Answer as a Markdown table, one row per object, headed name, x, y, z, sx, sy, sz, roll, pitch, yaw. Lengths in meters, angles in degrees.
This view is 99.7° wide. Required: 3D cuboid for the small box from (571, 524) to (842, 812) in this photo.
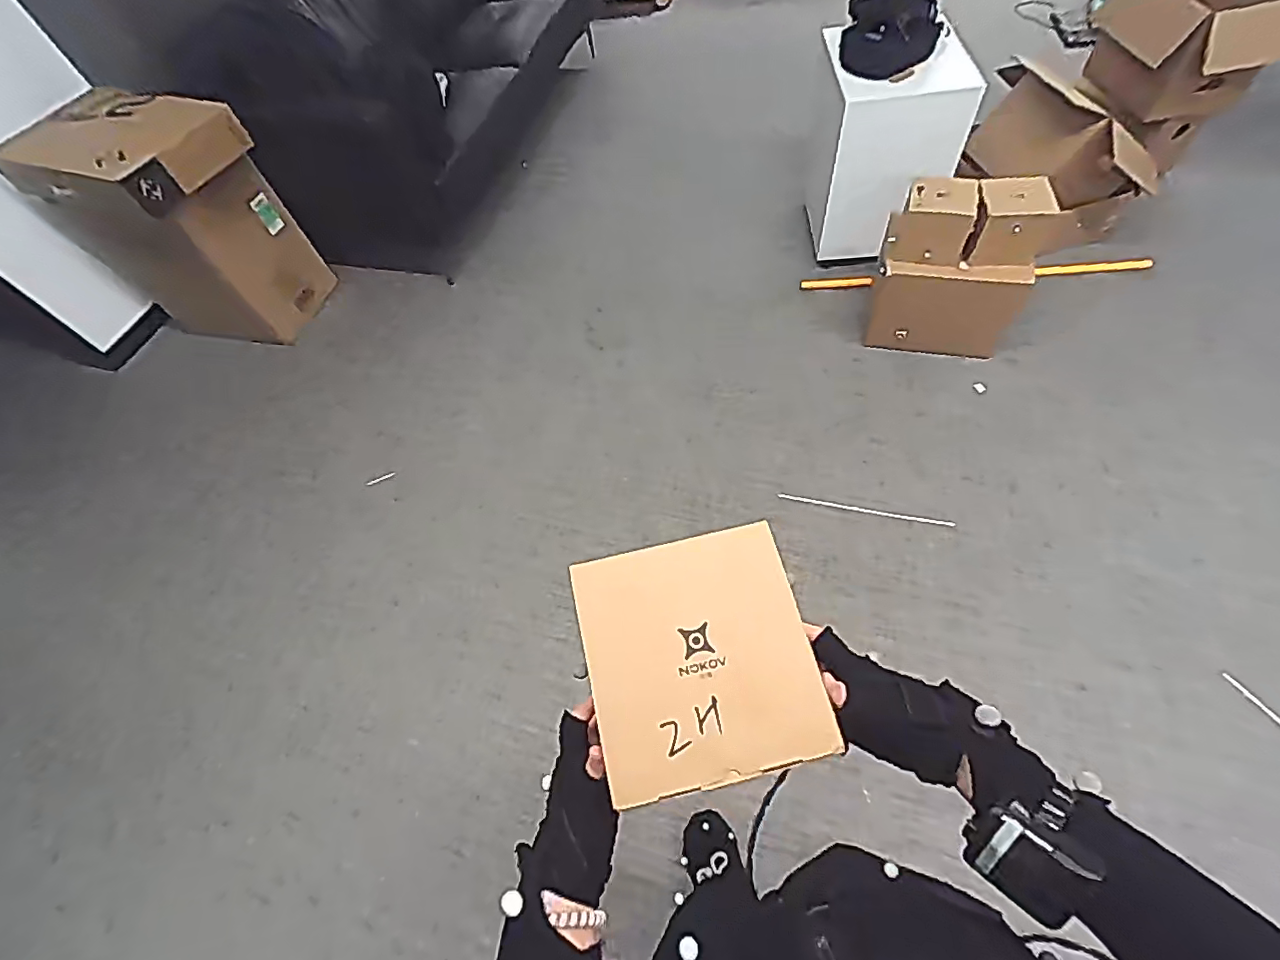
| name | x | y | z | sx | sy | sz | roll | pitch | yaw |
| --- | --- | --- | --- | --- | --- | --- | --- | --- | --- |
| small box | 0.042 | 0.160 | 0.467 | 0.168 | 0.176 | 0.179 | -12 | 67 | -3 |
